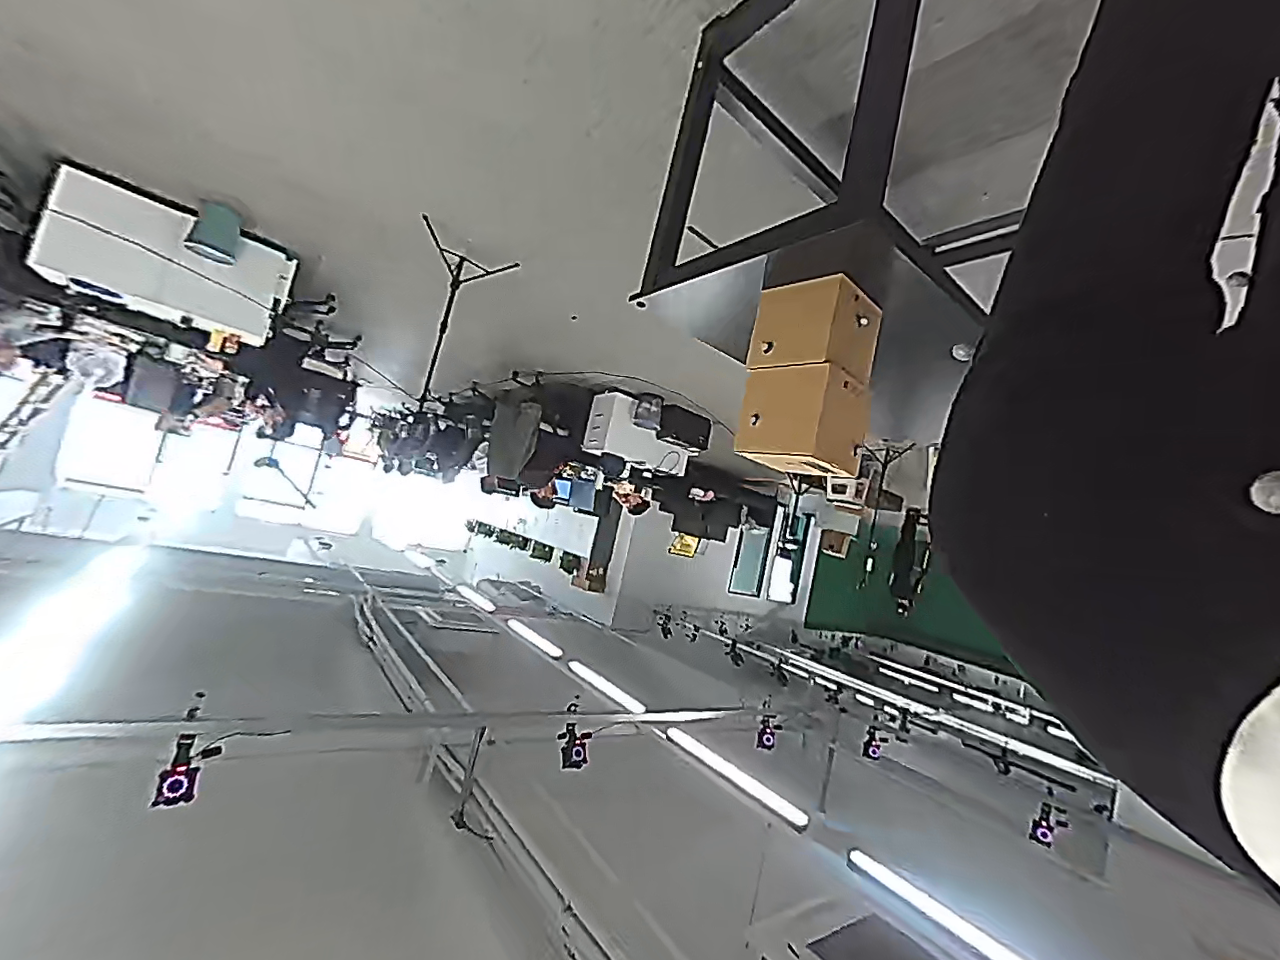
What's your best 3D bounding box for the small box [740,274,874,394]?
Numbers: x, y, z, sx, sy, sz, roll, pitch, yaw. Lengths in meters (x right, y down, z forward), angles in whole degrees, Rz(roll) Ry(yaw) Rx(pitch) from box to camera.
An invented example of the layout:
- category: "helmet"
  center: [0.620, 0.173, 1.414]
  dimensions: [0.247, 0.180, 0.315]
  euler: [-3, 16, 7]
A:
- category: "small box"
  center: [0.324, -0.273, 1.045]
  dimensions: [0.168, 0.176, 0.179]
  euler: [16, 175, -41]
